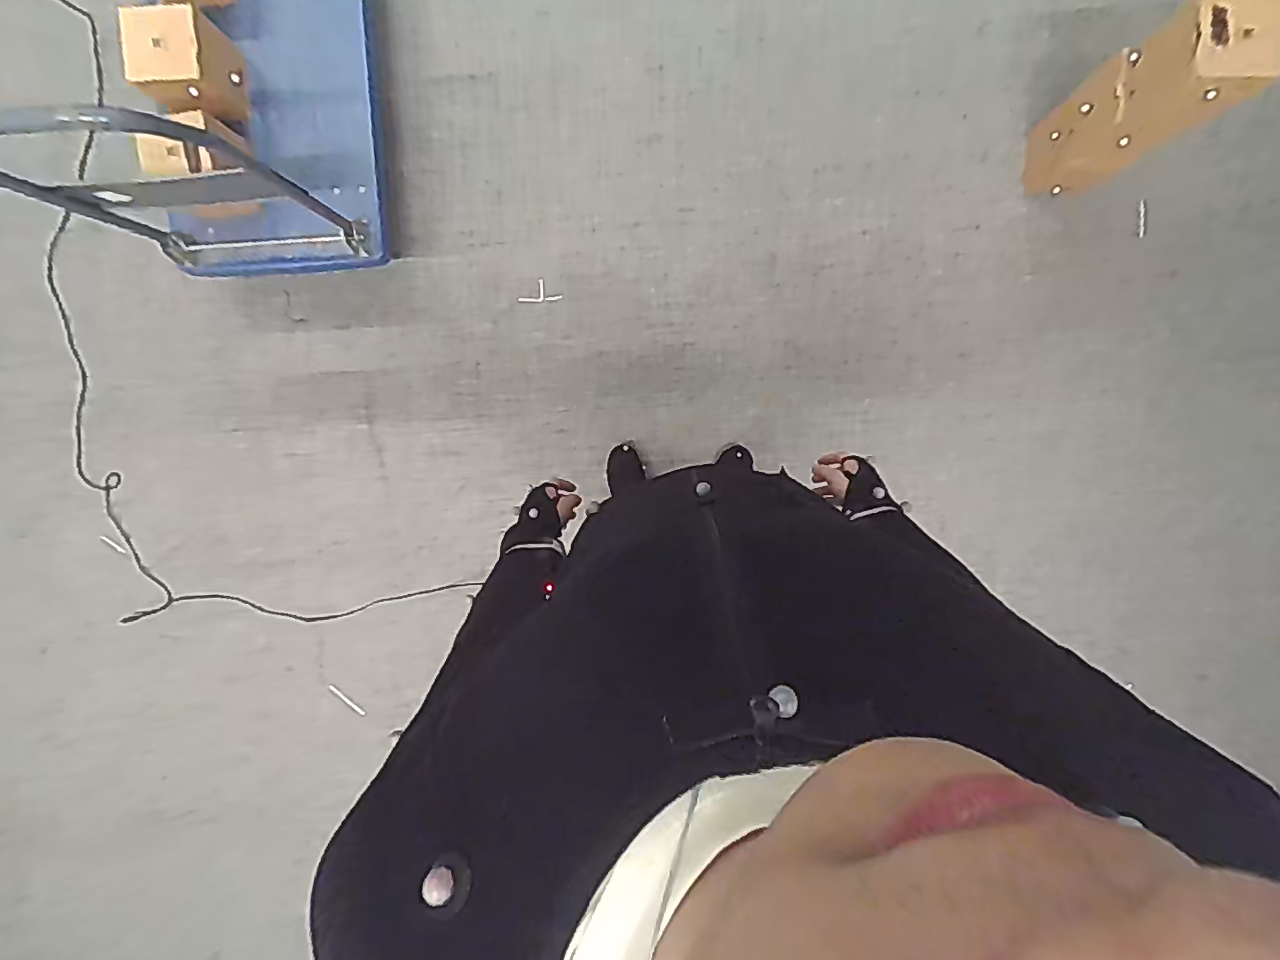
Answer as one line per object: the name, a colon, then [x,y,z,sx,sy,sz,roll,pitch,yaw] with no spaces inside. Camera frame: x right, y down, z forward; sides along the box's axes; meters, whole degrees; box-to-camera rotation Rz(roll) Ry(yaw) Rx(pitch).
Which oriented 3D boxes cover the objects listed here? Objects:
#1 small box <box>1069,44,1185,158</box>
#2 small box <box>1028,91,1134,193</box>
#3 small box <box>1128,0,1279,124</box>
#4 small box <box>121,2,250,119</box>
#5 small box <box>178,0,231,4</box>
small box: [1.174,-0.896,1.291,0.179,0.176,0.168,2,94,3]
small box: [1.184,-0.903,1.454,0.168,0.176,0.179,2,95,2]
small box: [1.177,-0.874,1.127,0.179,0.176,0.168,1,94,2]
small box: [-1.108,-1.021,1.329,0.179,0.176,0.168,-2,94,1]
small box: [-1.124,-1.296,1.301,0.179,0.176,0.168,3,98,0]
